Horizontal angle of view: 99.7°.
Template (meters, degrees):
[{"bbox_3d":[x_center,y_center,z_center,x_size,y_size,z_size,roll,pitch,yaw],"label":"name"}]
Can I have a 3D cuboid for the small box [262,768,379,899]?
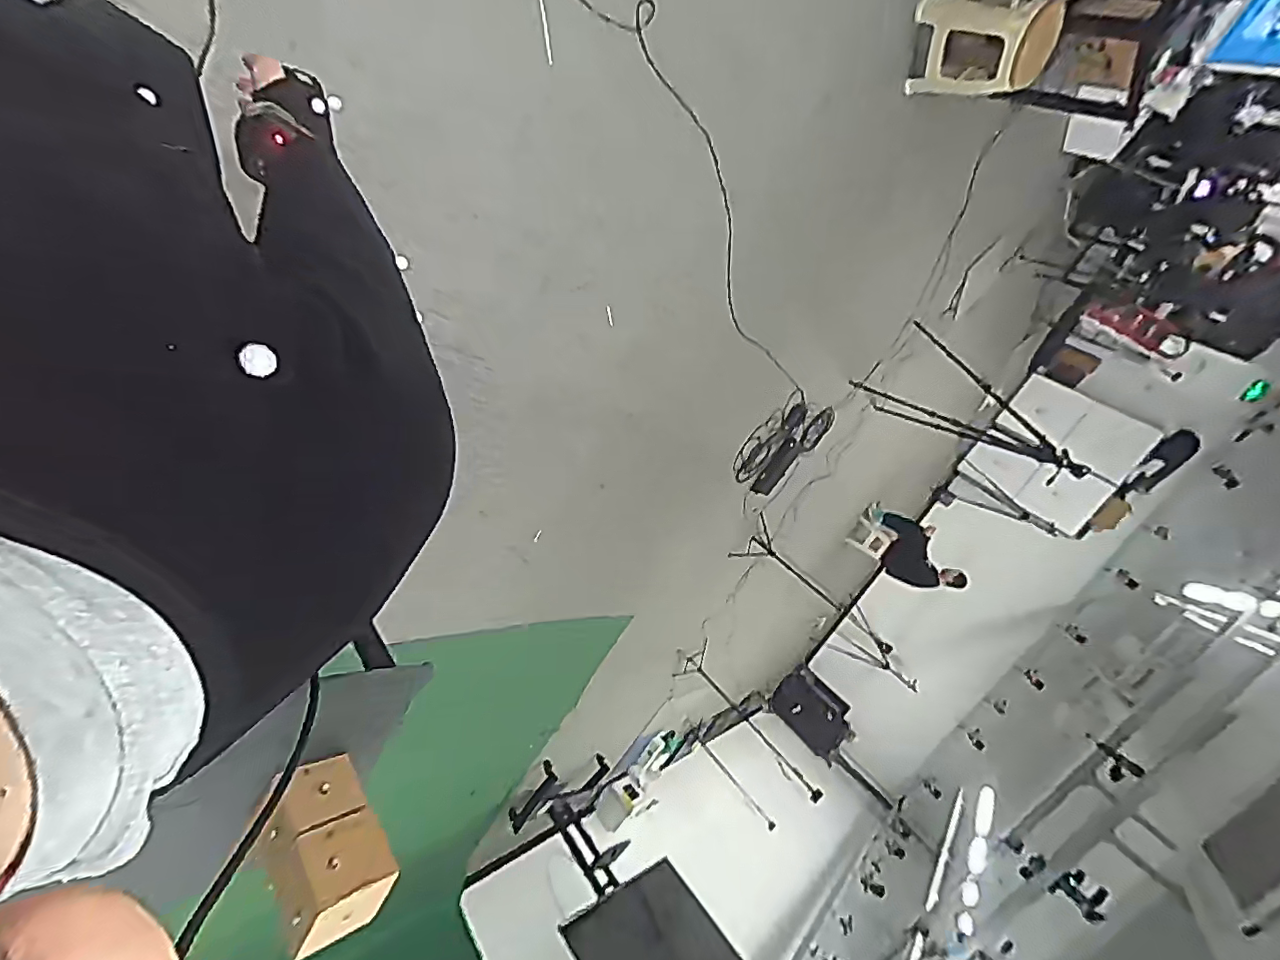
[{"bbox_3d":[-0.752,0.807,1.264,0.168,0.176,0.179,12,113,-53],"label":"small box"}]

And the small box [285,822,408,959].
[{"bbox_3d":[-0.640,0.883,1.171,0.168,0.176,0.179,9,117,-52],"label":"small box"}]
